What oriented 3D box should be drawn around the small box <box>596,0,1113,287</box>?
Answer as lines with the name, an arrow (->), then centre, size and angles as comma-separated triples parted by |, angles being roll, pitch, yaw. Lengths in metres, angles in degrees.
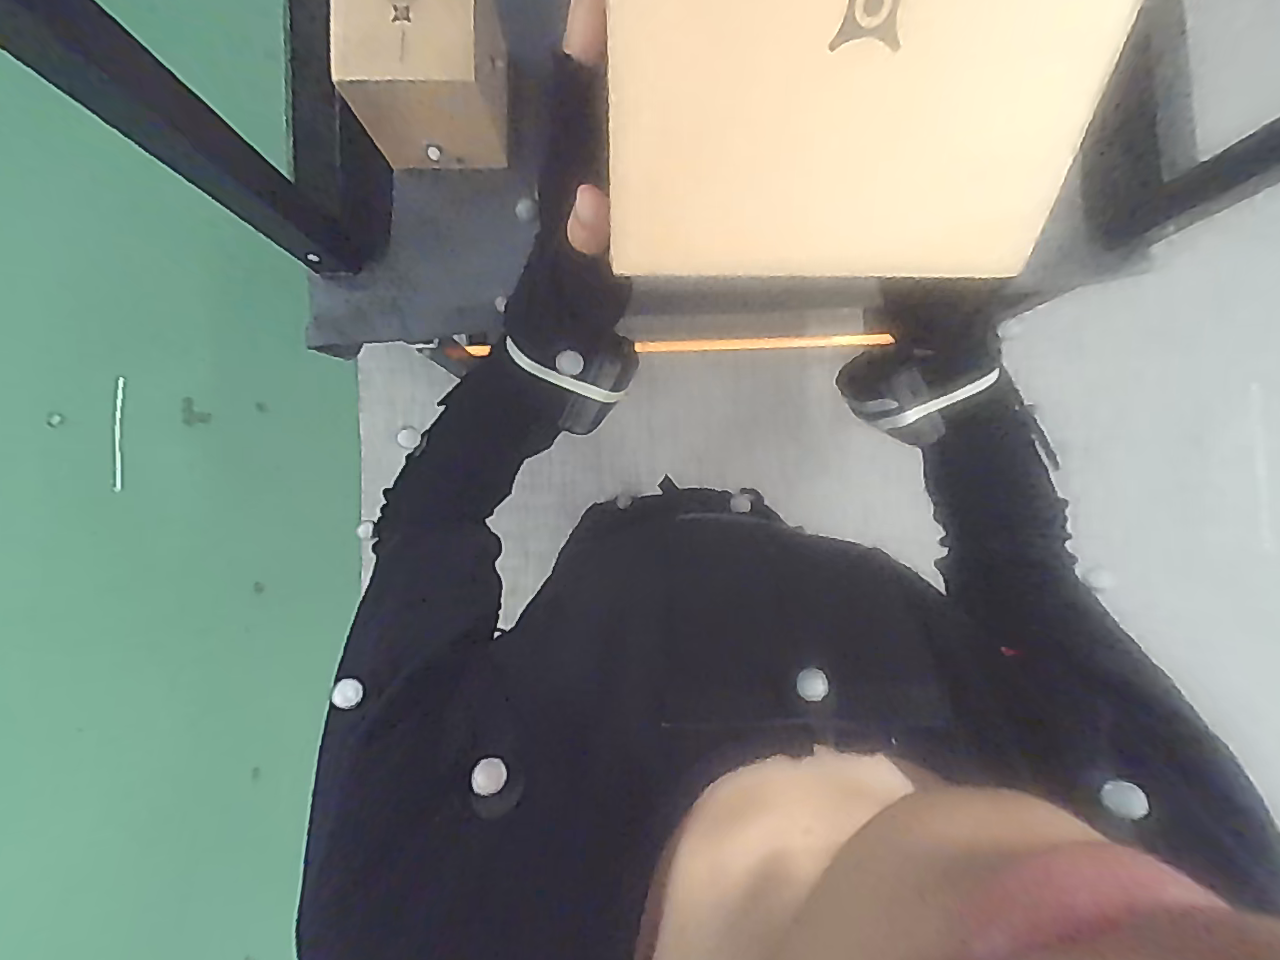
small box -> 0.068, -0.199, 0.236 | 0.168, 0.176, 0.179 | 0, 127, -1

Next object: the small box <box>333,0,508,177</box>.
small box -> -0.273, -0.530, 0.705 | 0.168, 0.176, 0.179 | -1, 88, -1
